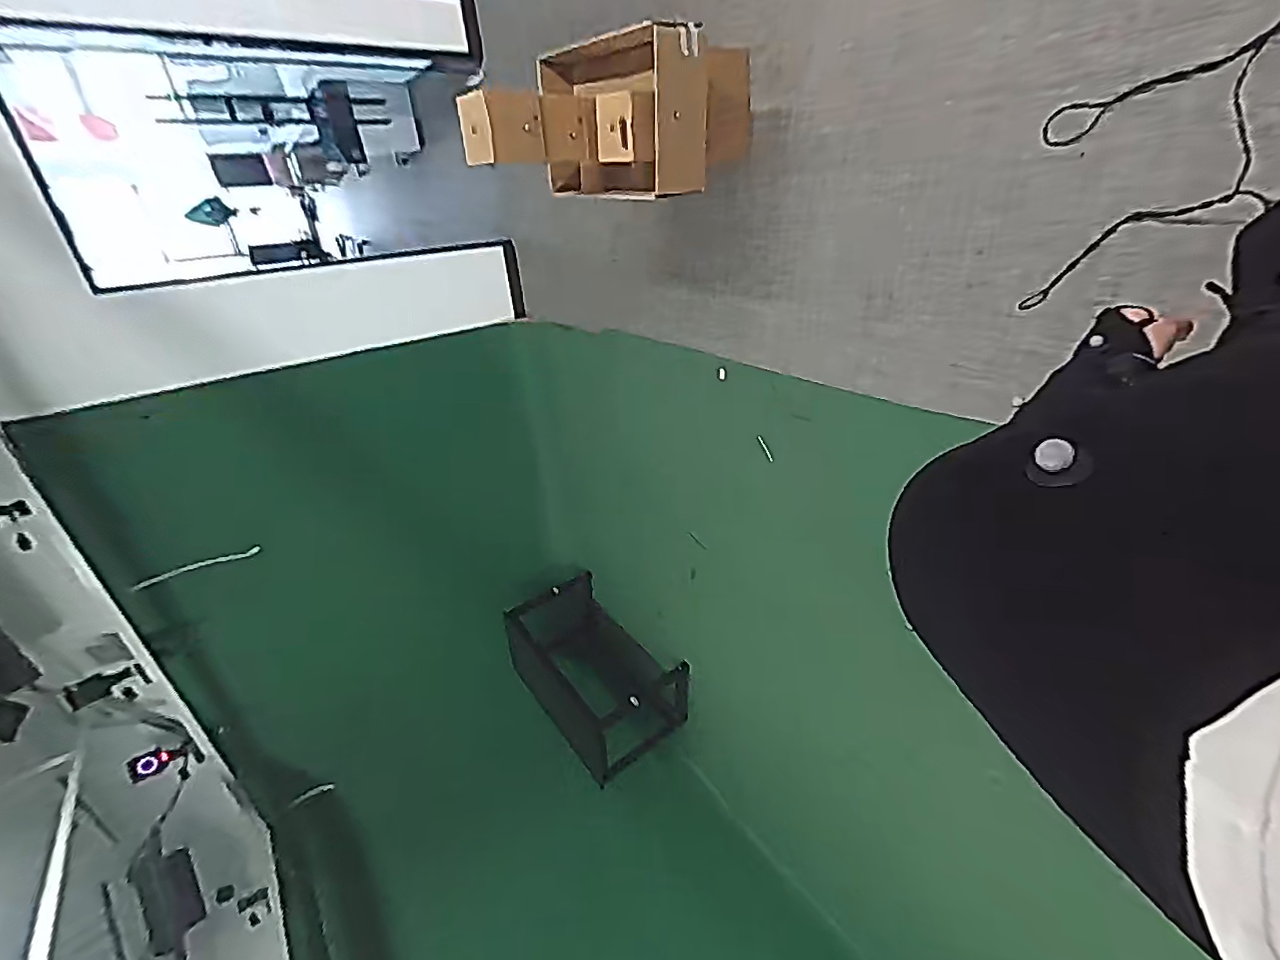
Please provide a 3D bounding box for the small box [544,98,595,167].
[{"bbox_3d":[-0.256,-1.052,1.648,0.179,0.176,0.168,30,133,42],"label":"small box"}]

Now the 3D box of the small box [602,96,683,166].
[{"bbox_3d":[0.011,-1.011,1.568,0.179,0.176,0.168,35,136,45],"label":"small box"}]

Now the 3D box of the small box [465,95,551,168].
[{"bbox_3d":[-0.375,-0.991,1.550,0.179,0.176,0.168,28,132,43],"label":"small box"}]
